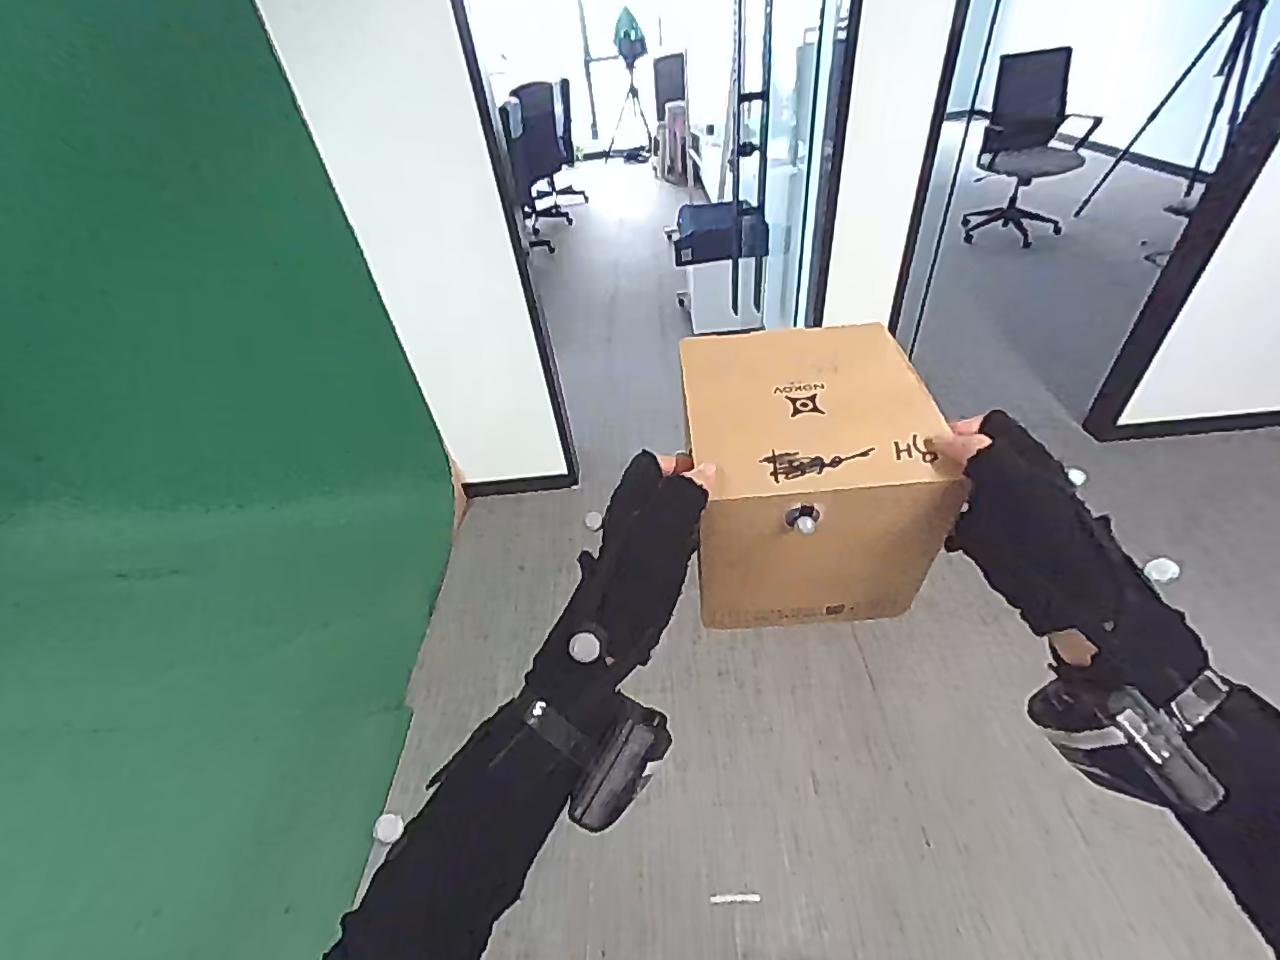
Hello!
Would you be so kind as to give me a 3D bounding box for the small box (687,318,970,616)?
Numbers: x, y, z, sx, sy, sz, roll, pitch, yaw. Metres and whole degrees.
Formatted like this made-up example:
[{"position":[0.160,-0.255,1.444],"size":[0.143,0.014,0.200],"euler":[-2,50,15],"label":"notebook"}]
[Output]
[{"position":[0.126,-0.009,0.445],"size":[0.168,0.176,0.179],"euler":[-5,47,4],"label":"small box"}]
